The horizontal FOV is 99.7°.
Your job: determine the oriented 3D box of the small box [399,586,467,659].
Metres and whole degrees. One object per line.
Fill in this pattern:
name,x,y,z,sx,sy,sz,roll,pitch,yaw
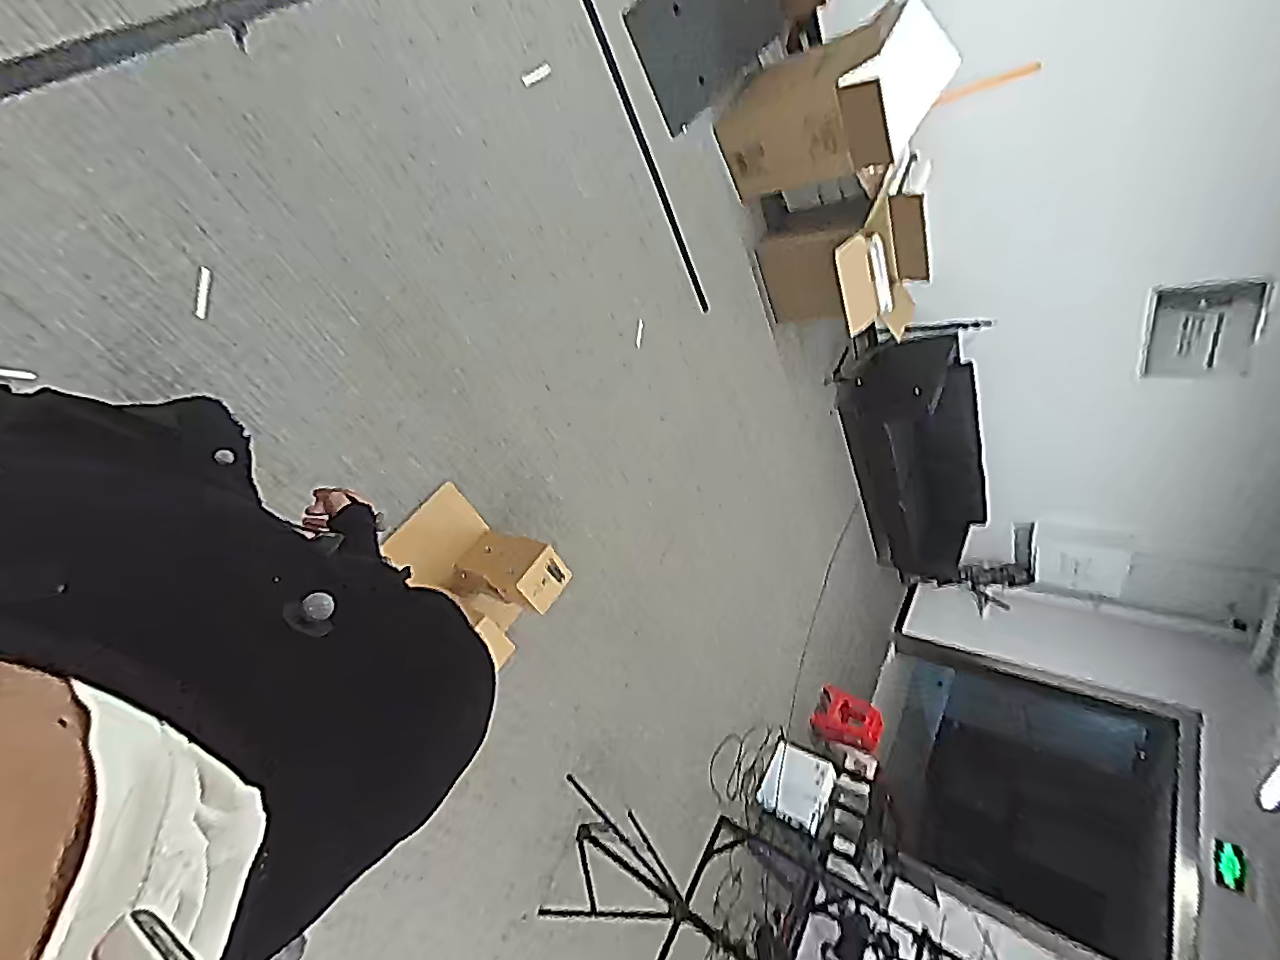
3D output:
small box,-0.655,0.475,1.762,0.179,0.176,0.168,-52,131,-31

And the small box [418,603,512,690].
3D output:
small box,-0.534,0.501,1.652,0.168,0.176,0.179,-51,131,-31

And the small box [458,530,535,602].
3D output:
small box,-0.511,0.298,1.899,0.179,0.176,0.168,-54,133,-31
